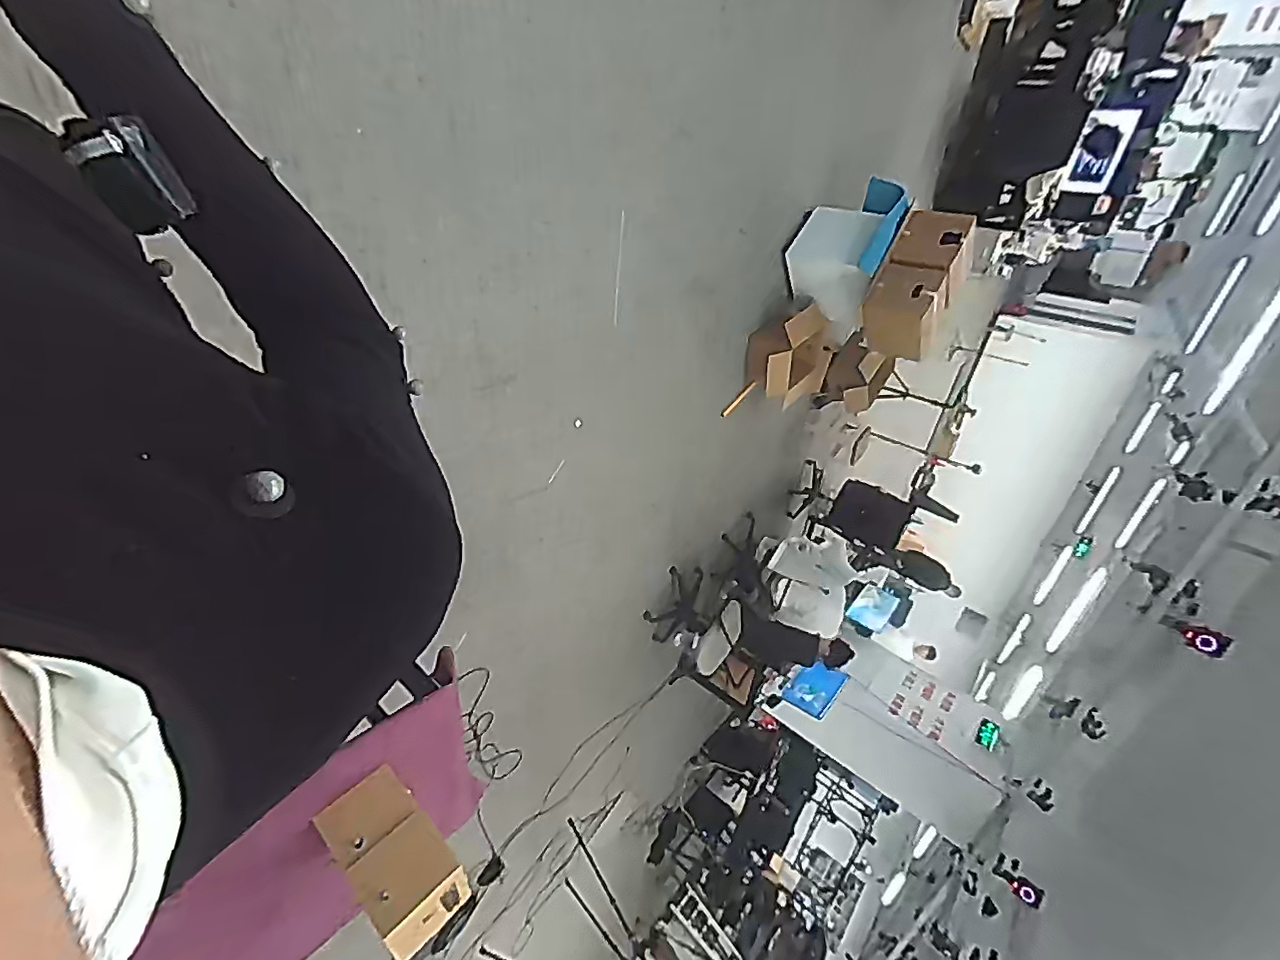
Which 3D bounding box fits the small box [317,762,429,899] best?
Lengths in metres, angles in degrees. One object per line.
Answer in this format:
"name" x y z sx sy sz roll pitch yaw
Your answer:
"small box" -0.632 0.818 1.275 0.179 0.176 0.168 -32 138 -40
